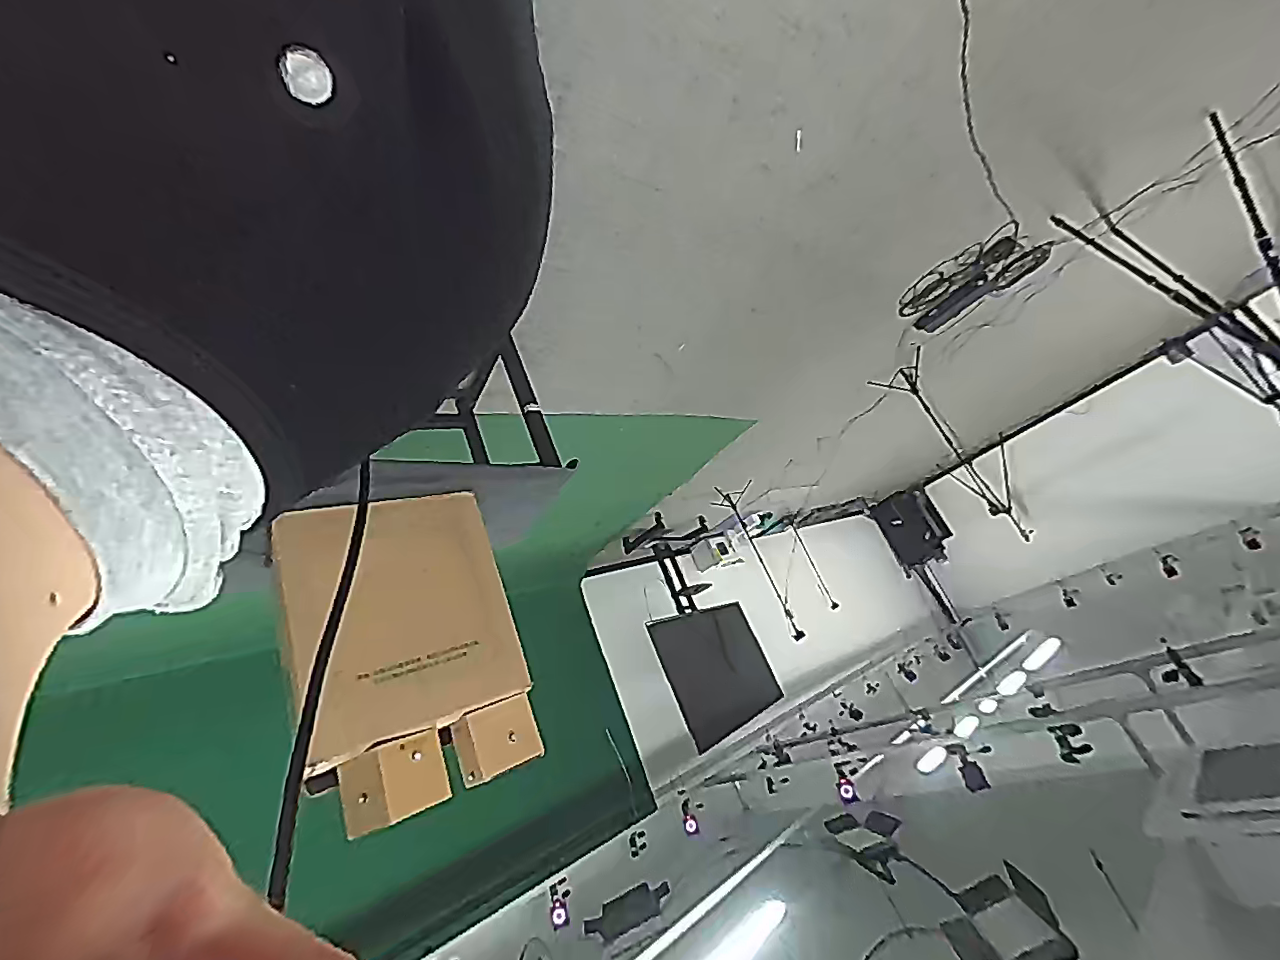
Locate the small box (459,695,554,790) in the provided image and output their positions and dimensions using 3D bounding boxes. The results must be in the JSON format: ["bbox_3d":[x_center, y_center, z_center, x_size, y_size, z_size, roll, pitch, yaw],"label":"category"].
[{"bbox_3d":[-0.367,0.708,1.470,0.179,0.176,0.168,-10,155,-39],"label":"small box"}]

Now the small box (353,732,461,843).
[{"bbox_3d":[-0.571,0.737,1.311,0.179,0.176,0.168,-35,157,24],"label":"small box"}]
